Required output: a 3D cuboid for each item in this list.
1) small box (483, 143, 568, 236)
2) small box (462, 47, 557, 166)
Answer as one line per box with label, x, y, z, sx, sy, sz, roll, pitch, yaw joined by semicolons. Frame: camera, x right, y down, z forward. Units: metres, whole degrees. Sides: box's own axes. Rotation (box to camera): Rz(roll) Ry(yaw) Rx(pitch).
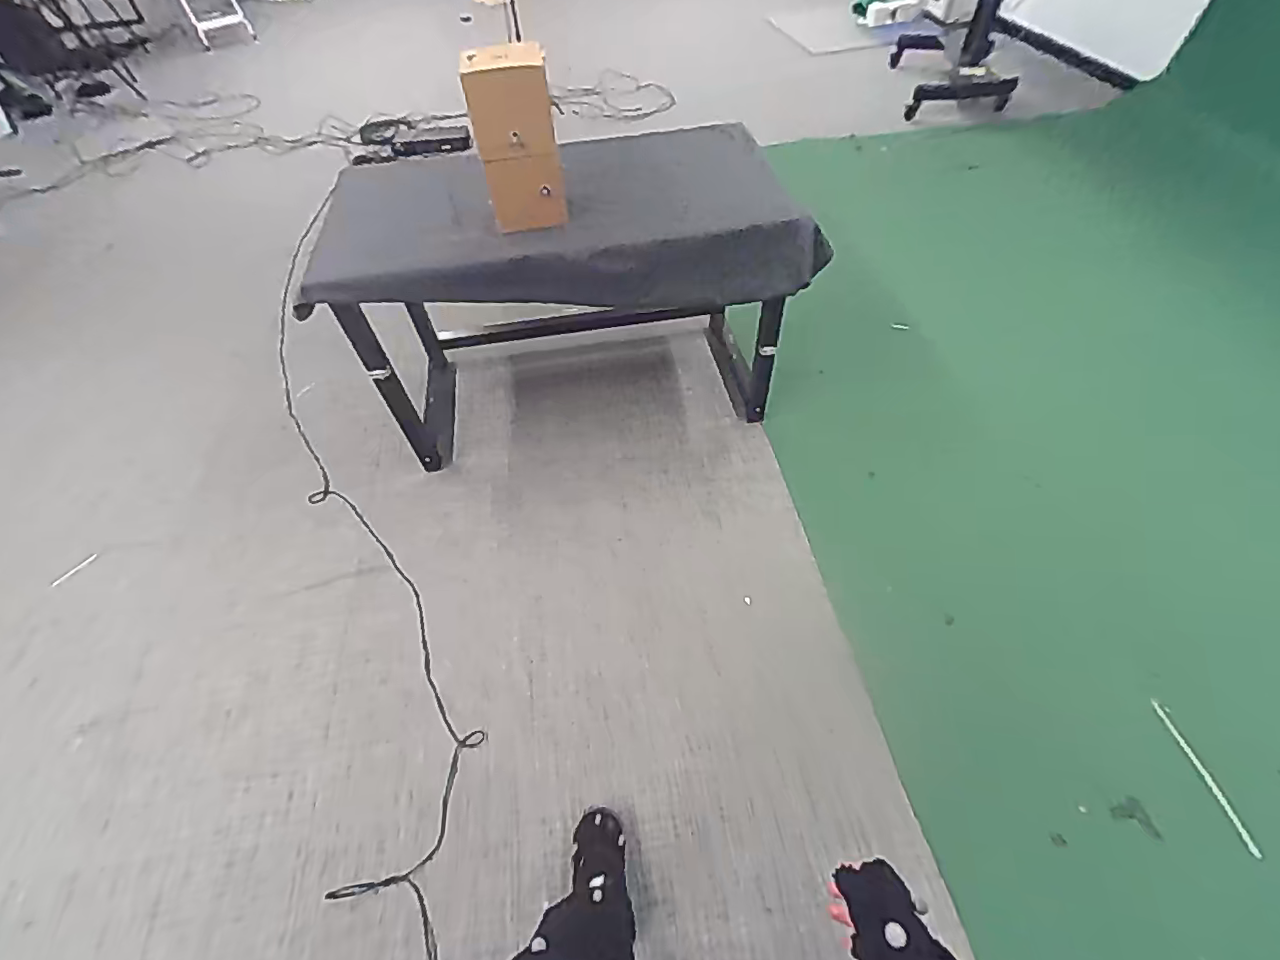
small box;-0.275;-0.727;1.330;0.179;0.176;0.168;-11;51;-3
small box;-0.284;-0.827;1.204;0.179;0.176;0.168;-11;53;-5
